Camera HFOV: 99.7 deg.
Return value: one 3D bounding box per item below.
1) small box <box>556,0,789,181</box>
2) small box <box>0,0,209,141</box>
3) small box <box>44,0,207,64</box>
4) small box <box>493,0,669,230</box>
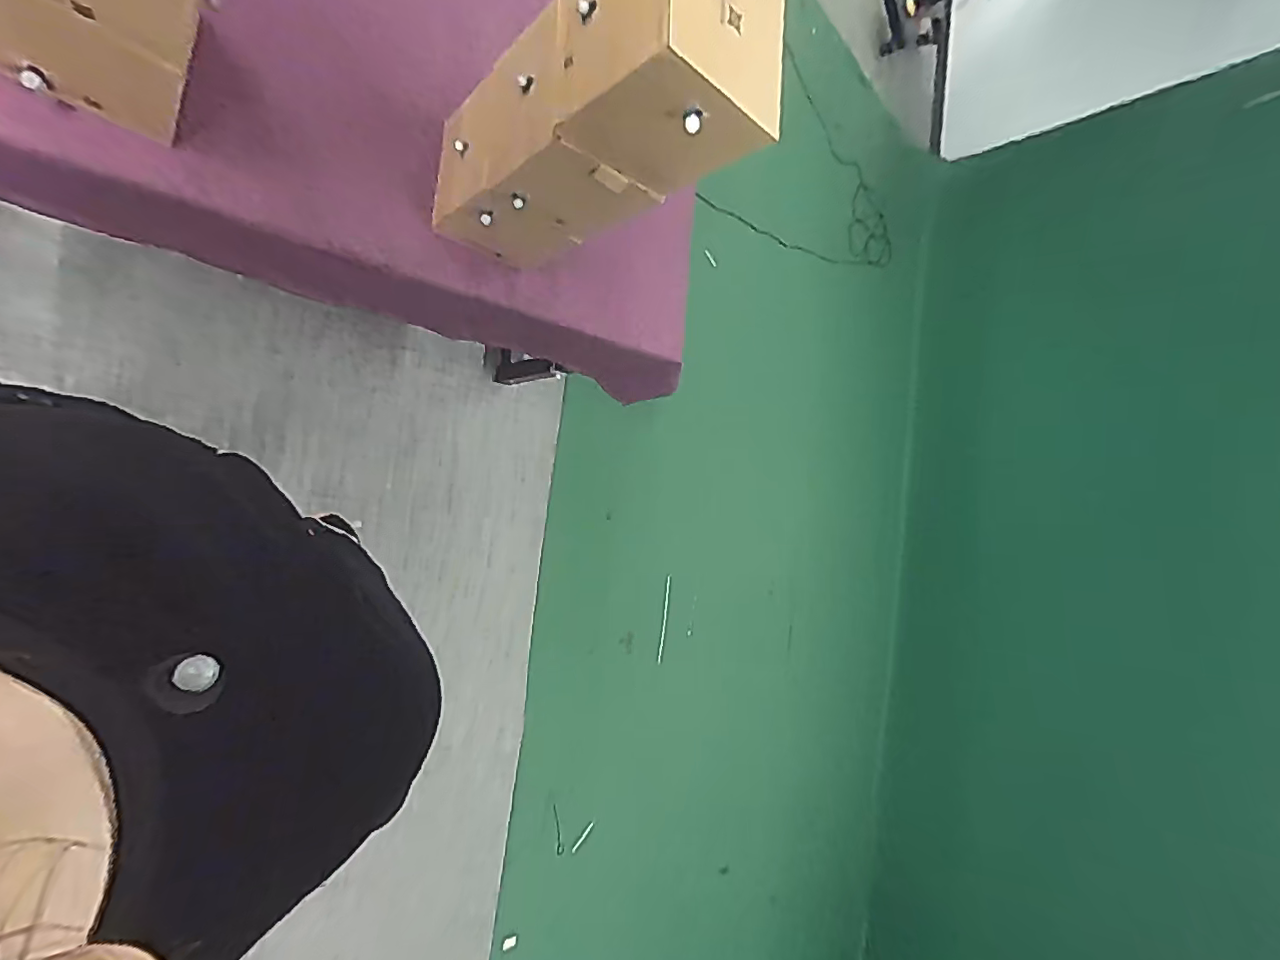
[{"bbox_3d":[0.035,-0.447,0.567,0.179,0.176,0.168,3,89,-42],"label":"small box"},{"bbox_3d":[-0.514,-0.469,0.502,0.168,0.176,0.179,12,84,-42],"label":"small box"},{"bbox_3d":[-0.402,-0.463,0.381,0.168,0.176,0.179,12,83,-41],"label":"small box"},{"bbox_3d":[-0.074,-0.450,0.689,0.168,0.176,0.179,5,88,-43],"label":"small box"}]
